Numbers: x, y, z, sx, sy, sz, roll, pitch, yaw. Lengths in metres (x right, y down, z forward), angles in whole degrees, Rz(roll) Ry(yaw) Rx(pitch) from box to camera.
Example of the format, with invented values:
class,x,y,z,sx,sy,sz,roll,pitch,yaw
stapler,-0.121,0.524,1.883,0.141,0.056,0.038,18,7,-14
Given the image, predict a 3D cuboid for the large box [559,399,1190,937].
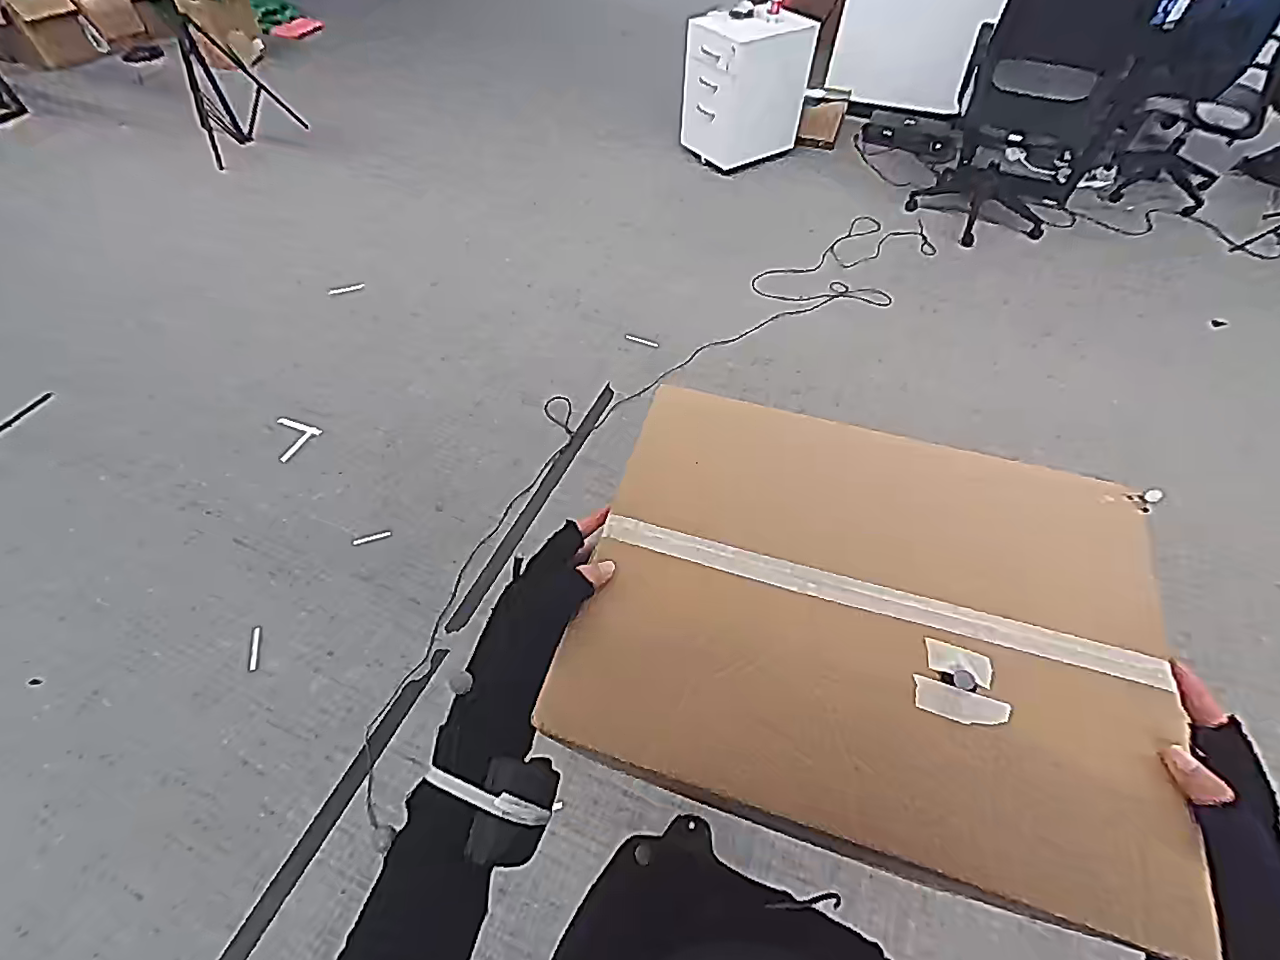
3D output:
class,x,y,z,sx,sy,sz,roll,pitch,yaw
large box,0.177,0.167,0.544,0.408,0.320,0.320,15,62,11
